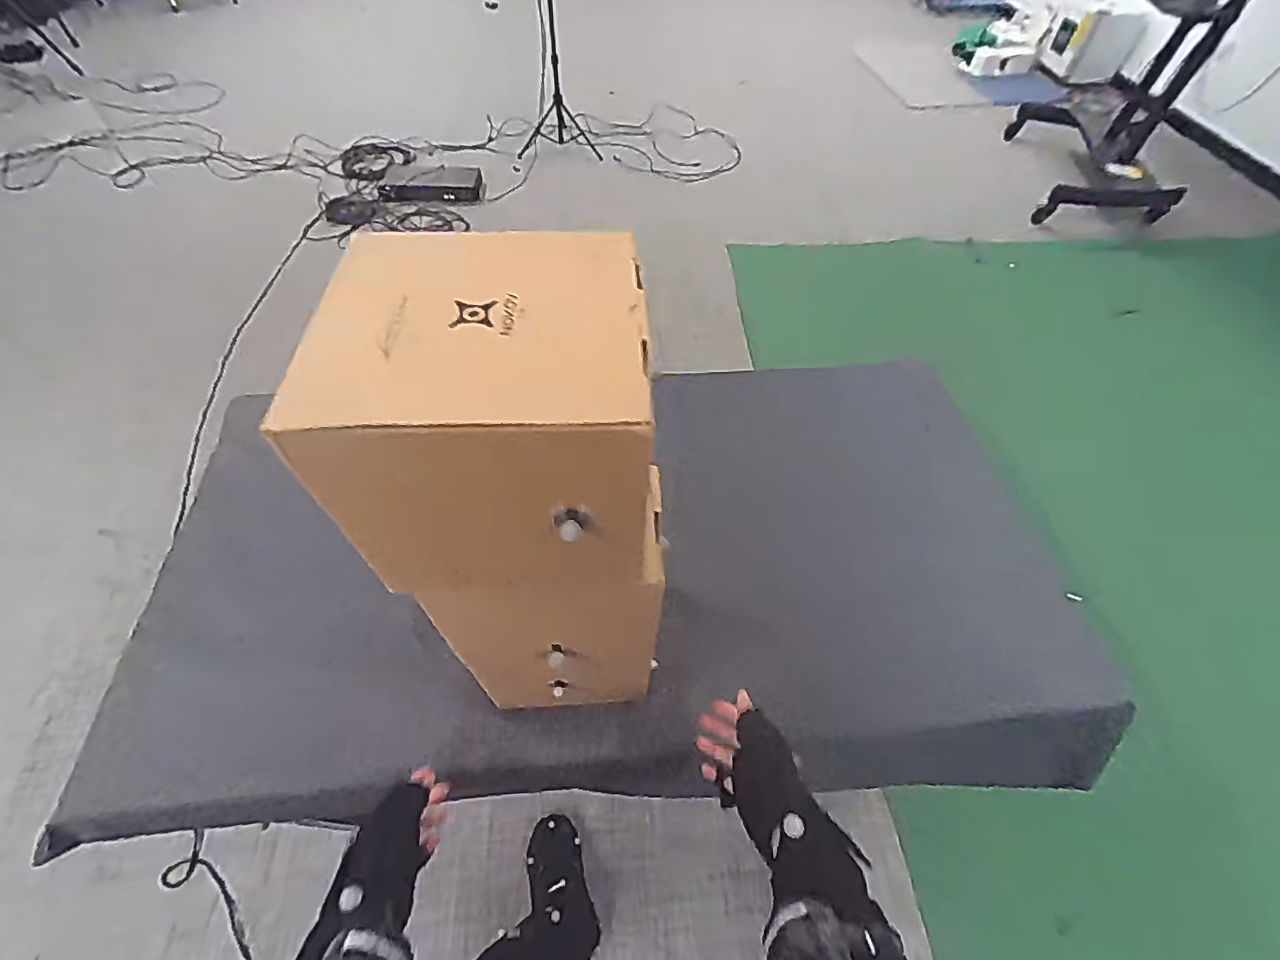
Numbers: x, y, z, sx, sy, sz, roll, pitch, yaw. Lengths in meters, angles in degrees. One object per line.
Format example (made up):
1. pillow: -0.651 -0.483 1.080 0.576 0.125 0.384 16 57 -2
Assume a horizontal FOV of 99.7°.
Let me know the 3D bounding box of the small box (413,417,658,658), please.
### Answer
1. small box: -0.082 0.054 0.493 0.179 0.176 0.168 -1 54 -4

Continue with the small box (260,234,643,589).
1. small box: -0.091 -0.039 0.359 0.179 0.176 0.168 -3 53 -2

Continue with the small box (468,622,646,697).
1. small box: -0.086 0.143 0.627 0.179 0.176 0.168 0 53 -2
